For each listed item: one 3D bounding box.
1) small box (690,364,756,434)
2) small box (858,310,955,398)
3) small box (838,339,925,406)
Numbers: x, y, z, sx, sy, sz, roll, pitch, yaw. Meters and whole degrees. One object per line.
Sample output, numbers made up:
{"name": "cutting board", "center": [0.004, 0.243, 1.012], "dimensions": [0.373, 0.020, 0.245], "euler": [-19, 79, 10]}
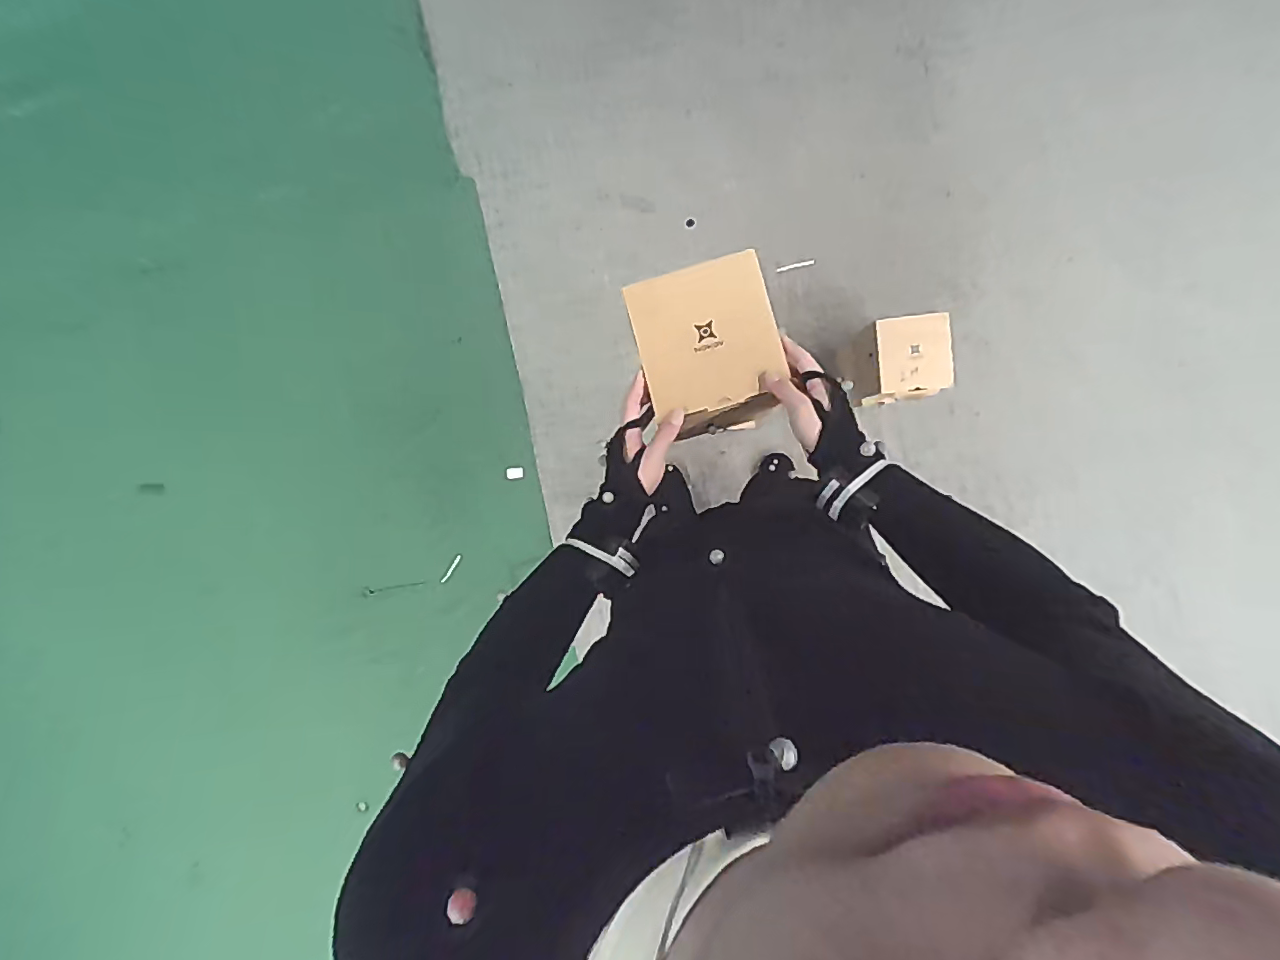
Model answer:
{"name": "small box", "center": [0.234, -0.226, 1.549], "dimensions": [0.168, 0.176, 0.179], "euler": [-6, 92, 4]}
{"name": "small box", "center": [0.646, -0.302, 1.327], "dimensions": [0.168, 0.176, 0.179], "euler": [-5, 93, 6]}
{"name": "small box", "center": [0.661, -0.303, 1.492], "dimensions": [0.168, 0.176, 0.179], "euler": [-9, 94, 5]}
